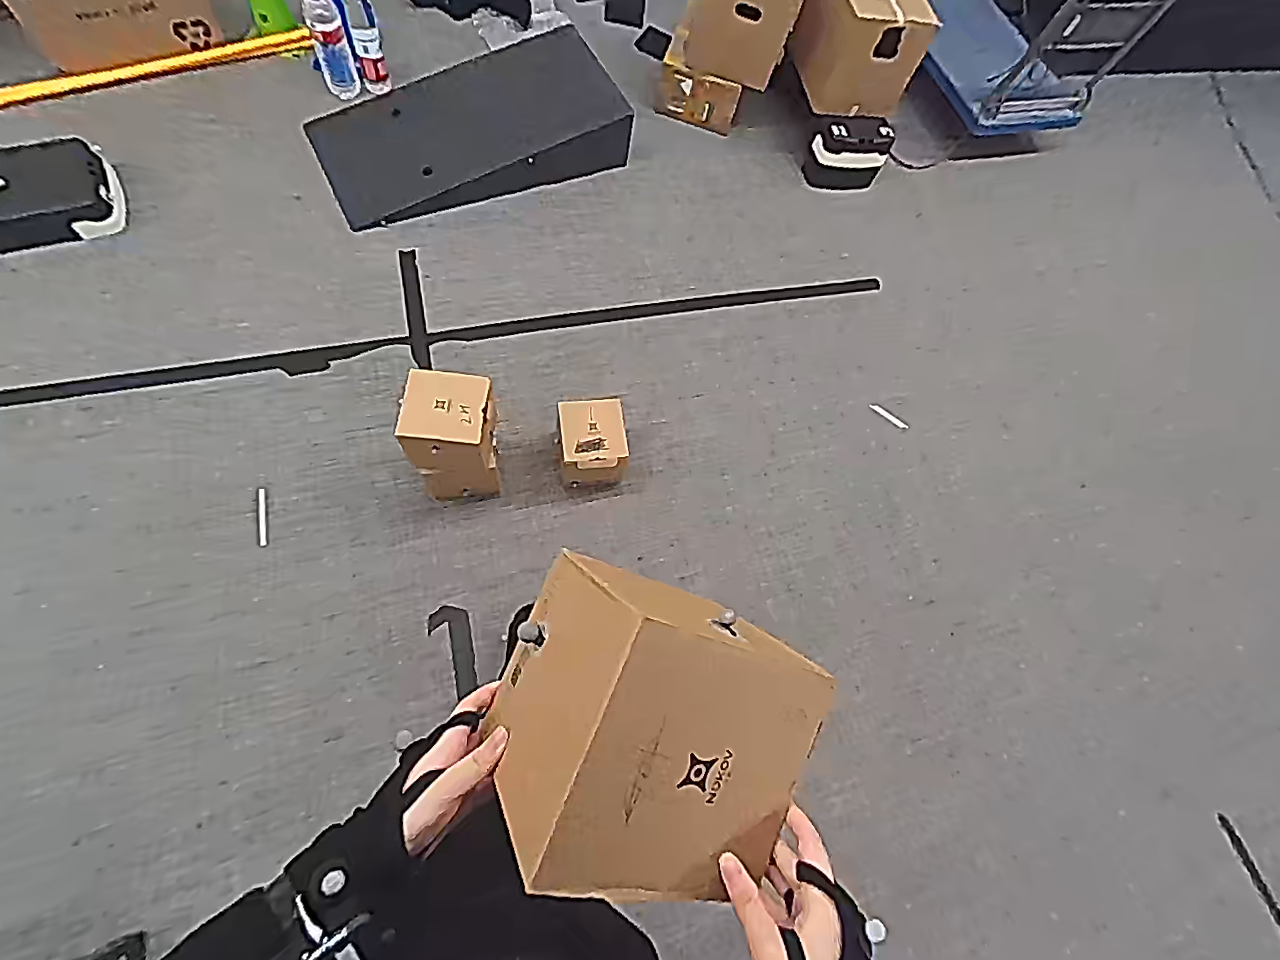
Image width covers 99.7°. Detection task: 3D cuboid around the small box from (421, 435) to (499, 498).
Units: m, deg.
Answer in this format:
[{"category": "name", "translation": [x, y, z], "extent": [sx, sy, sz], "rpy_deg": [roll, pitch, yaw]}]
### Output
[{"category": "small box", "translation": [-0.452, -0.061, 1.374], "extent": [0.179, 0.176, 0.168], "rpy_deg": [-5, 69, -13]}]

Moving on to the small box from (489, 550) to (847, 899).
[{"category": "small box", "translation": [0.009, 0.167, 0.407], "extent": [0.179, 0.176, 0.168], "rpy_deg": [26, 86, -26]}]

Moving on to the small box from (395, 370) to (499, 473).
[{"category": "small box", "translation": [-0.426, -0.125, 1.223], "extent": [0.179, 0.176, 0.168], "rpy_deg": [6, 68, -7]}]

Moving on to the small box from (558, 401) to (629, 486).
[{"category": "small box", "translation": [-0.129, -0.091, 1.446], "extent": [0.168, 0.176, 0.179], "rpy_deg": [-4, 68, -12]}]
